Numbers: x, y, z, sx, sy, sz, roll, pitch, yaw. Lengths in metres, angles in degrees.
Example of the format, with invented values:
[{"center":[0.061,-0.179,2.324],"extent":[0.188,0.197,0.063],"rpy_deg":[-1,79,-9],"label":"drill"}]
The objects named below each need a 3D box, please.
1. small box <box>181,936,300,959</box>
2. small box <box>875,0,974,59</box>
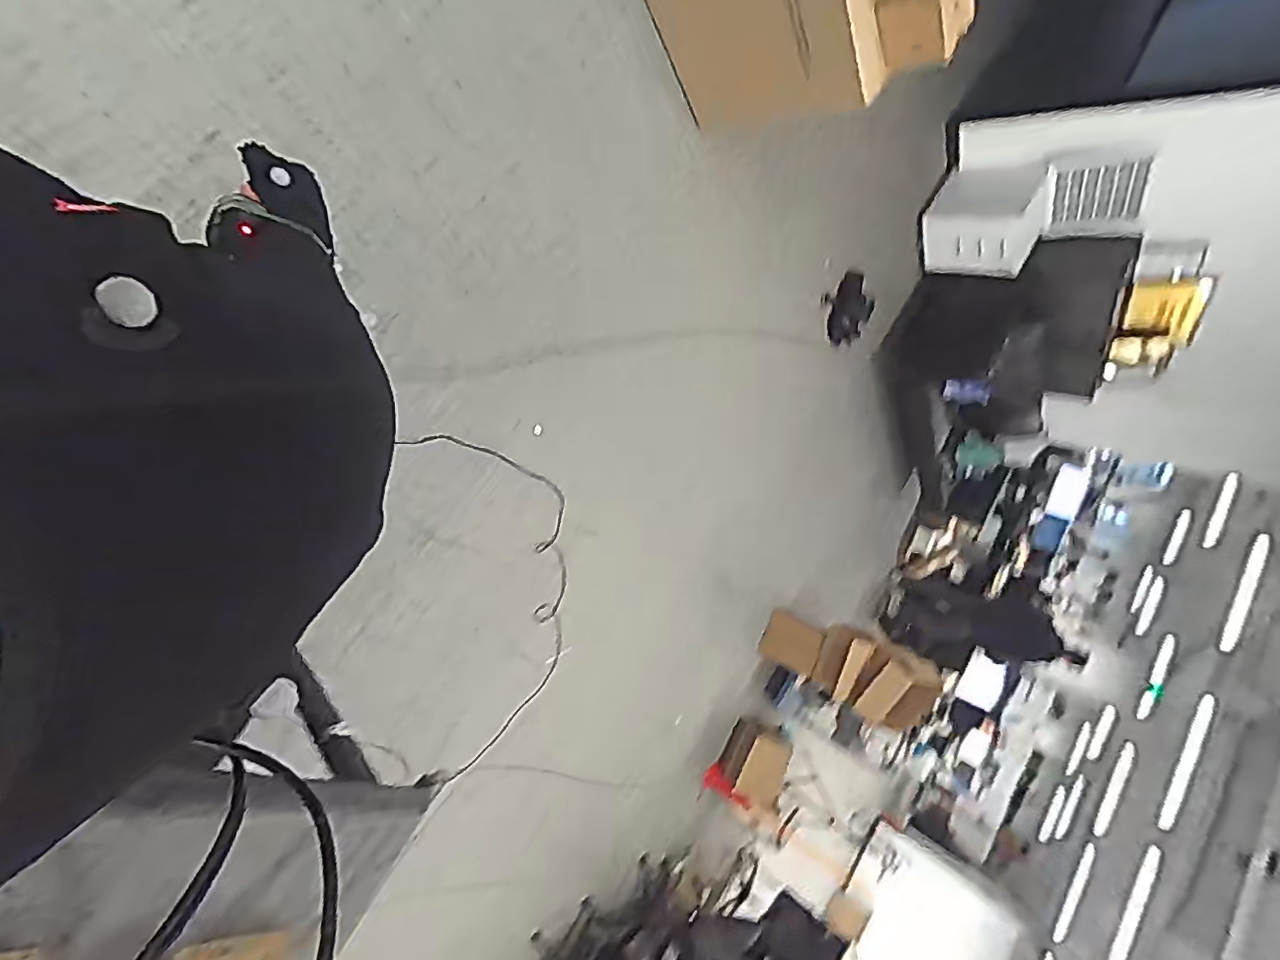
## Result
[{"center":[-0.606,0.805,0.777],"extent":[0.179,0.176,0.168],"rpy_deg":[-59,139,-11],"label":"small box"},{"center":[0.757,-1.266,1.439],"extent":[0.179,0.176,0.168],"rpy_deg":[32,86,-48],"label":"small box"}]
